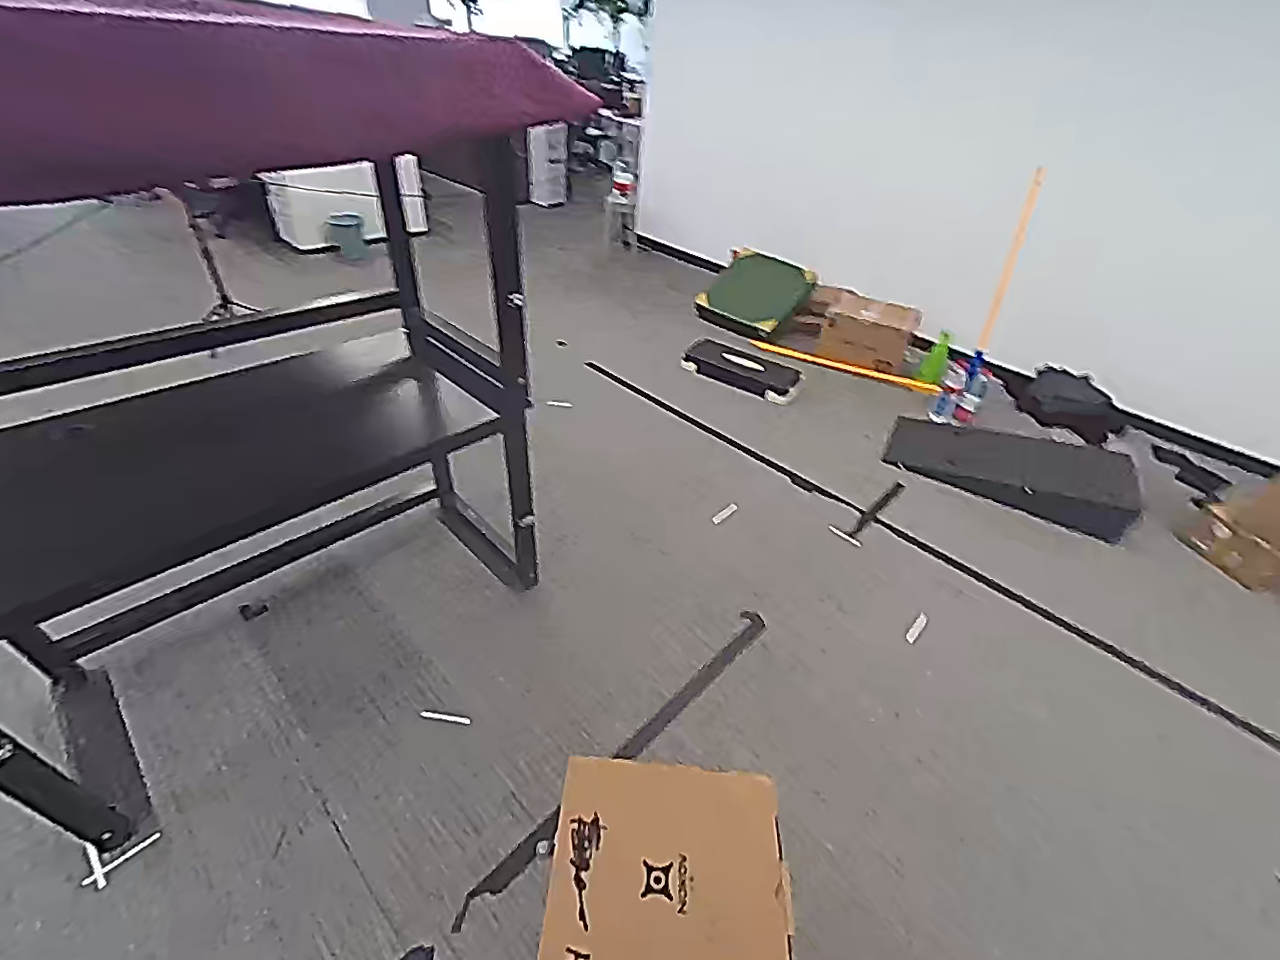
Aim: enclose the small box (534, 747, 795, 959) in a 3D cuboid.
[{"bbox_3d":[0.012,0.347,0.443,0.179,0.176,0.168,7,40,-1],"label":"small box"}]
